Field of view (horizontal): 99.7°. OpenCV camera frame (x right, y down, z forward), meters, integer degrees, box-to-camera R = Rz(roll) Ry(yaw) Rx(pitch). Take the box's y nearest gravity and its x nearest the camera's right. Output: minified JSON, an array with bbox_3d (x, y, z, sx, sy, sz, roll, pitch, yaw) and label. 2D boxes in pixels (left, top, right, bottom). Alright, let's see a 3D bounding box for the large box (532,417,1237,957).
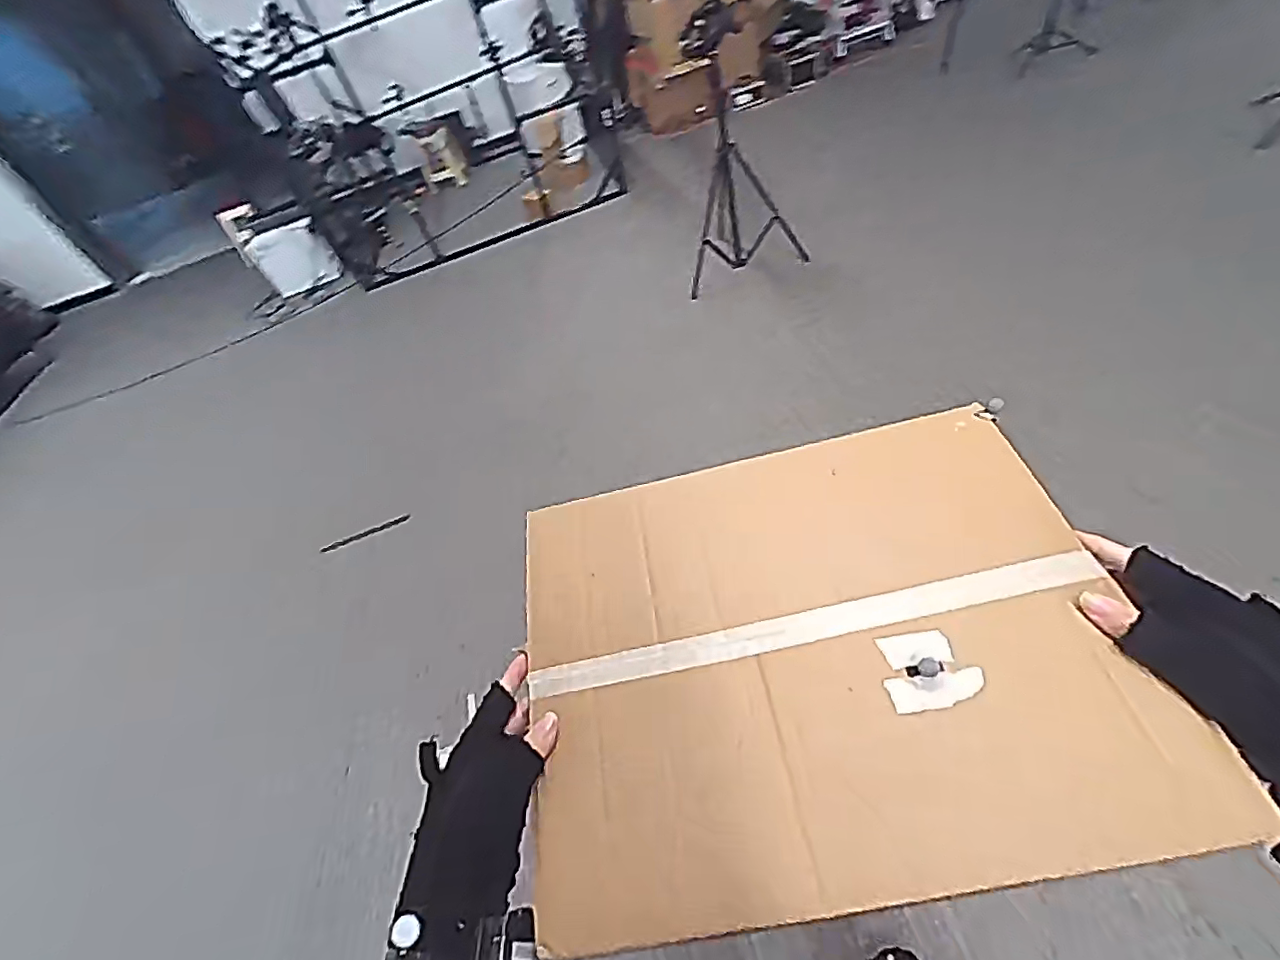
[{"bbox_3d":[0.144,0.198,0.515,0.408,0.320,0.320,-14,54,4],"label":"large box"}]
